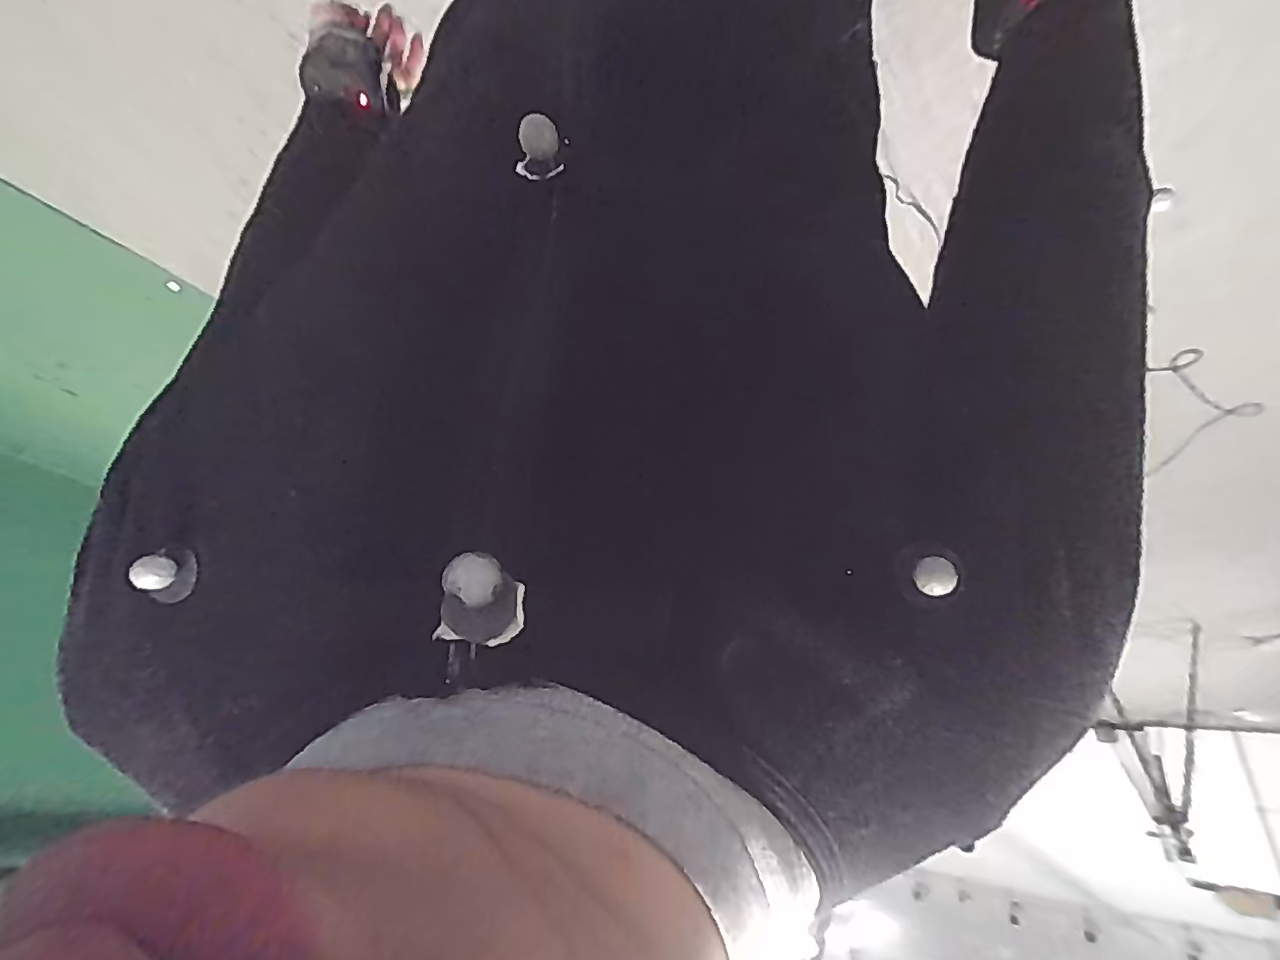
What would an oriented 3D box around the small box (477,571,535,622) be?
[{"bbox_3d":[-0.578,0.508,2.354,0.179,0.176,0.168,-19,142,41],"label":"small box"}]
